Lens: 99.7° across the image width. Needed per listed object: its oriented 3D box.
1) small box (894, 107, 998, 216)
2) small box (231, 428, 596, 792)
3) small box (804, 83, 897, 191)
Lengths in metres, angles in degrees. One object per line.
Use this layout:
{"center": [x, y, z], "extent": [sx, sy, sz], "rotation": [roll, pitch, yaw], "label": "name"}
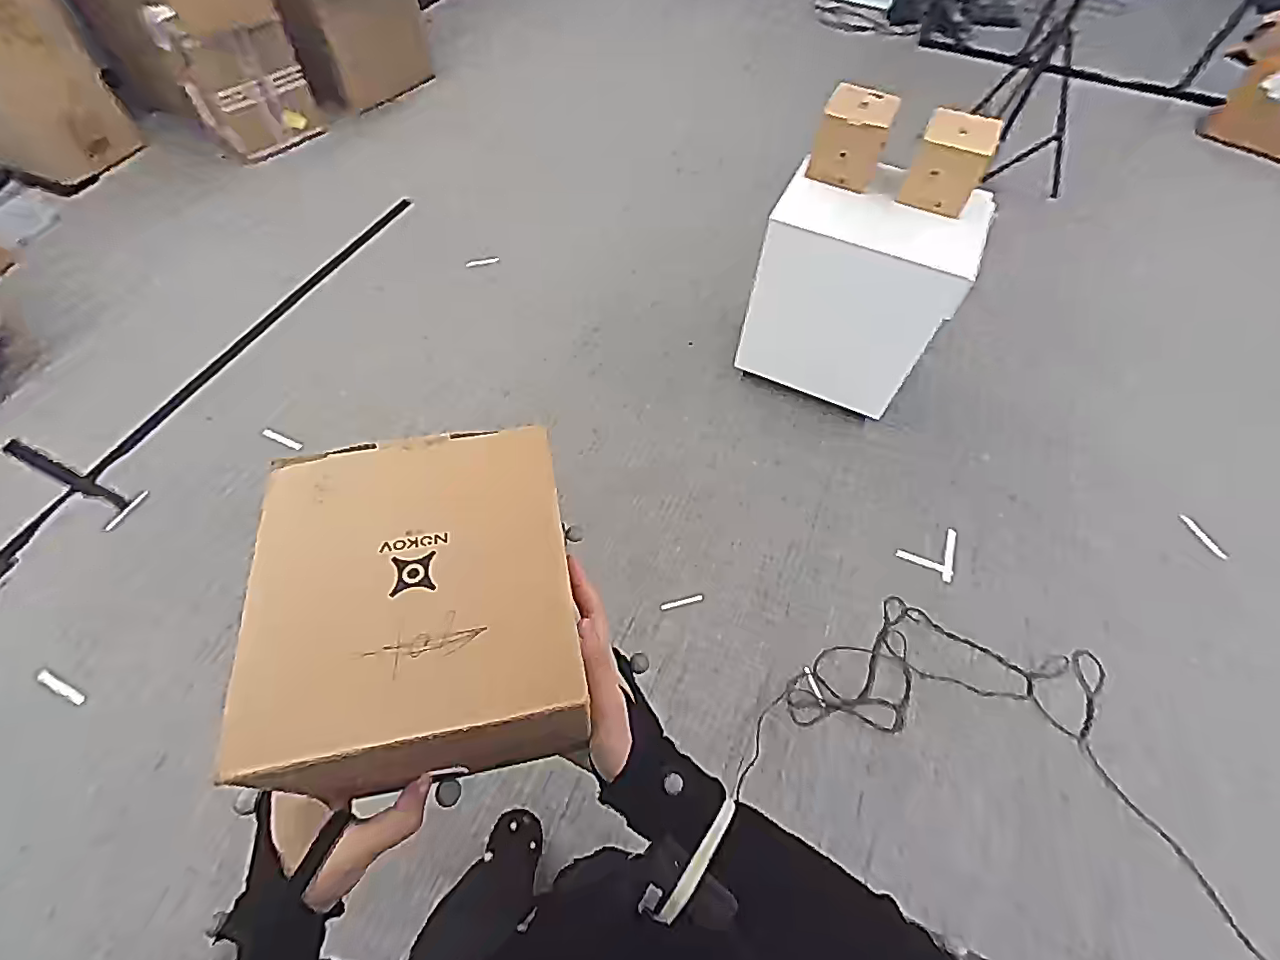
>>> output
{"center": [0.782, -0.819, 1.396], "extent": [0.168, 0.176, 0.179], "rotation": [23, 62, 12], "label": "small box"}
{"center": [-0.123, 0.091, 0.362], "extent": [0.168, 0.176, 0.179], "rotation": [-8, 58, -9], "label": "small box"}
{"center": [0.554, -0.912, 1.445], "extent": [0.168, 0.176, 0.179], "rotation": [24, 63, 11], "label": "small box"}
